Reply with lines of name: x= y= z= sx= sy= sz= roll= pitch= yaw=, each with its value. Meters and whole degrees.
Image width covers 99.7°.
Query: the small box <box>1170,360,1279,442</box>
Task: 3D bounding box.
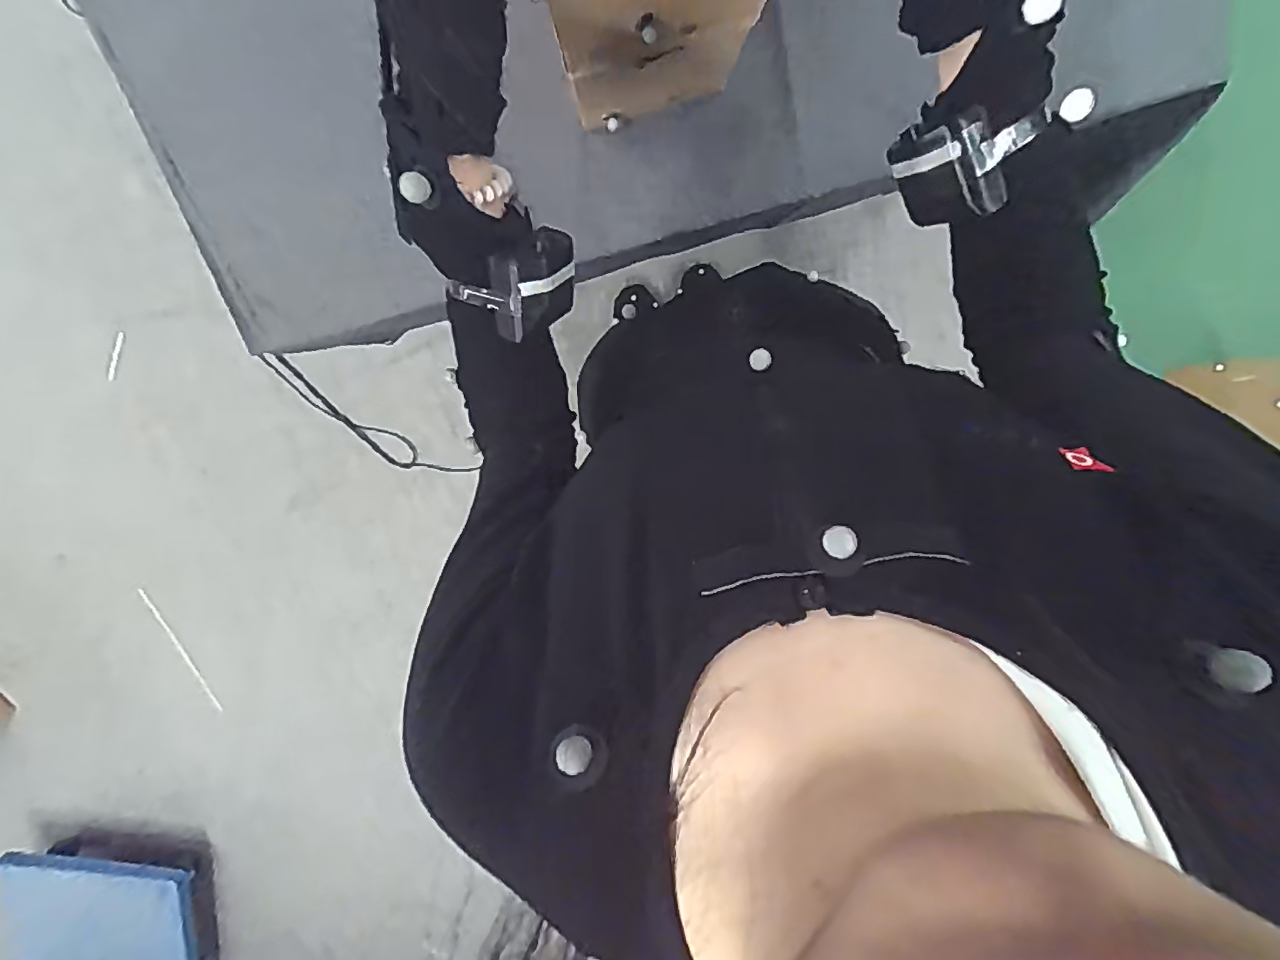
small box: x=1.526 y=-0.206 z=1.384 sx=0.179 sy=0.176 sz=0.168 roll=-9 pitch=108 yaw=3

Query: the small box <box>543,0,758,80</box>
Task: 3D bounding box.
small box: x=-0.005 y=-0.421 z=0.366 sx=0.168 sy=0.176 sz=0.179 roll=-14 pitch=108 yaw=4

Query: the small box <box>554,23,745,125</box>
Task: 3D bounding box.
small box: x=-0.006 y=-0.472 z=0.521 sx=0.168 sy=0.176 sz=0.179 roll=-15 pitch=107 yaw=4
